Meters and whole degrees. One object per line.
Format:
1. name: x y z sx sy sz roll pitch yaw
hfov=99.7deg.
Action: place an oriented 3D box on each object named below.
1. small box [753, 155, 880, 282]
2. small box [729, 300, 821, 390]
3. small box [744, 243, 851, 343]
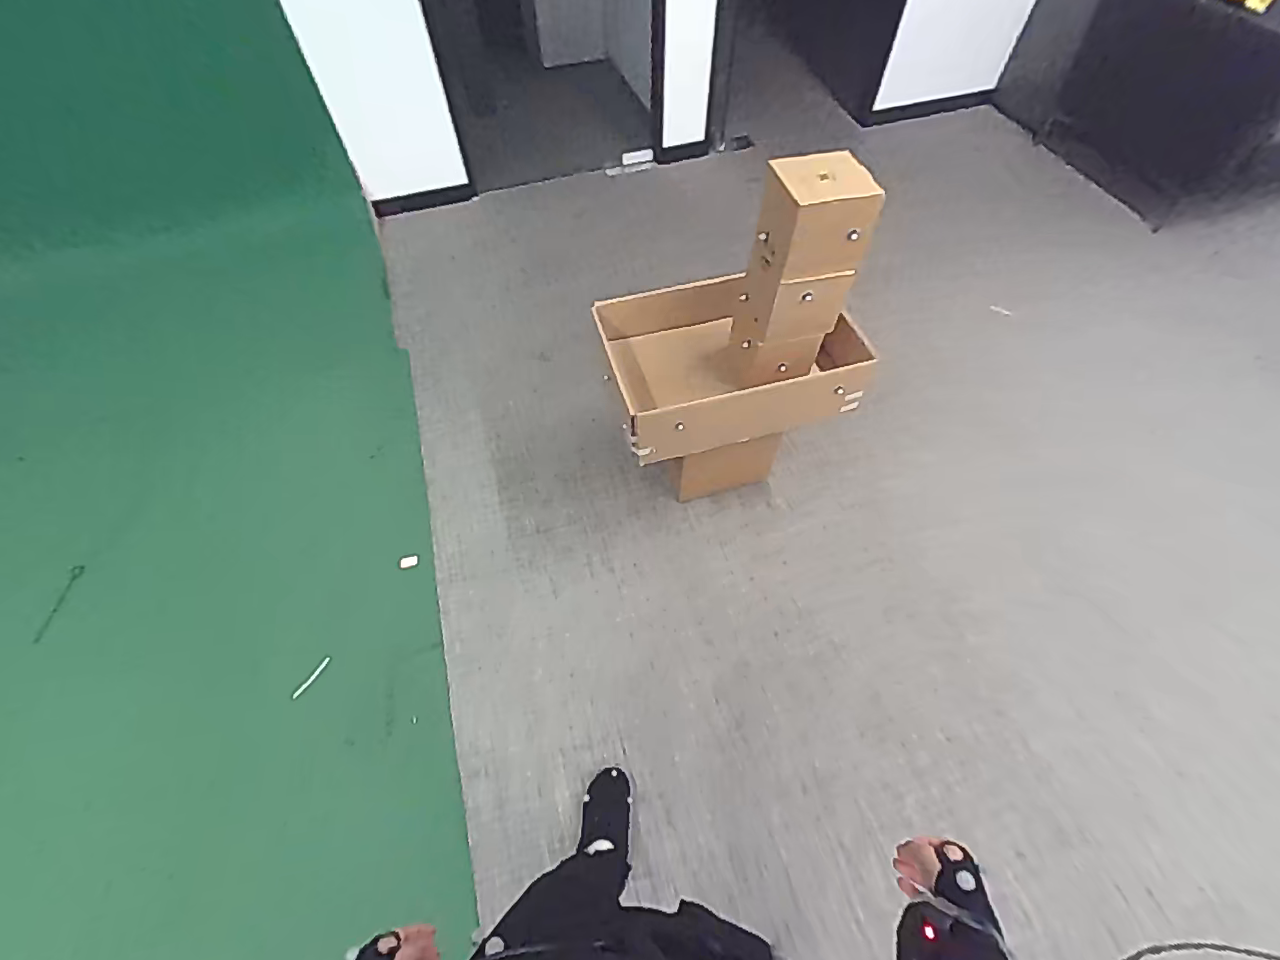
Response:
1. small box: 0.352 -0.535 1.115 0.179 0.176 0.168 -12 57 -7
2. small box: 0.336 -0.346 1.382 0.168 0.176 0.179 -10 57 -6
3. small box: 0.349 -0.437 1.246 0.179 0.176 0.168 -11 58 -7
